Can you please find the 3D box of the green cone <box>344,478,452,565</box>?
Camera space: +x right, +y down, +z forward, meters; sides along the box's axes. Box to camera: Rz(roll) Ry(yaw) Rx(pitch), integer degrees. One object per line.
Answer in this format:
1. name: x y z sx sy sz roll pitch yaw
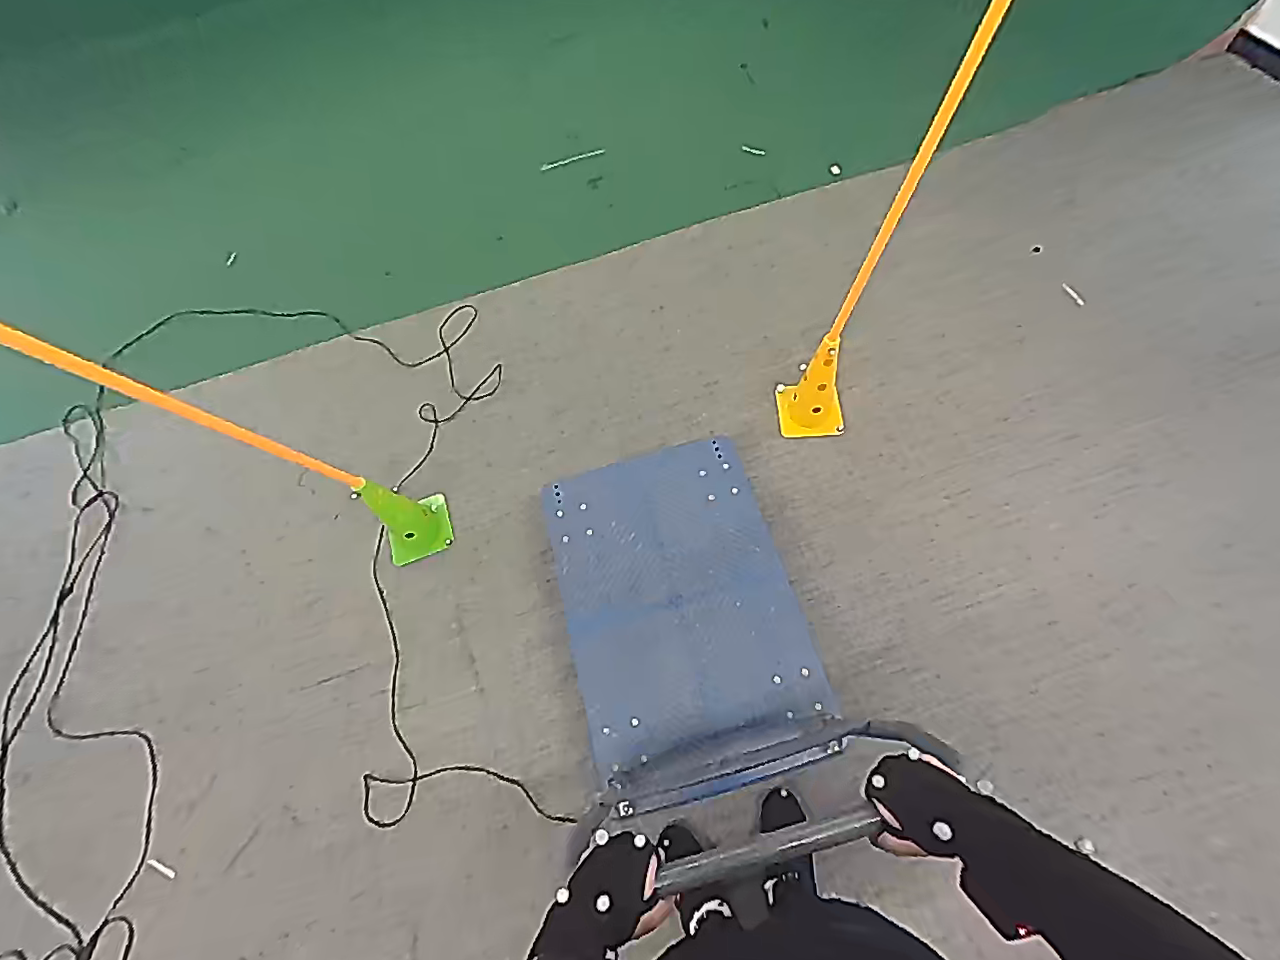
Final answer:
1. green cone: -0.735 0.082 1.587 0.202 0.368 0.200 -22 63 -2
